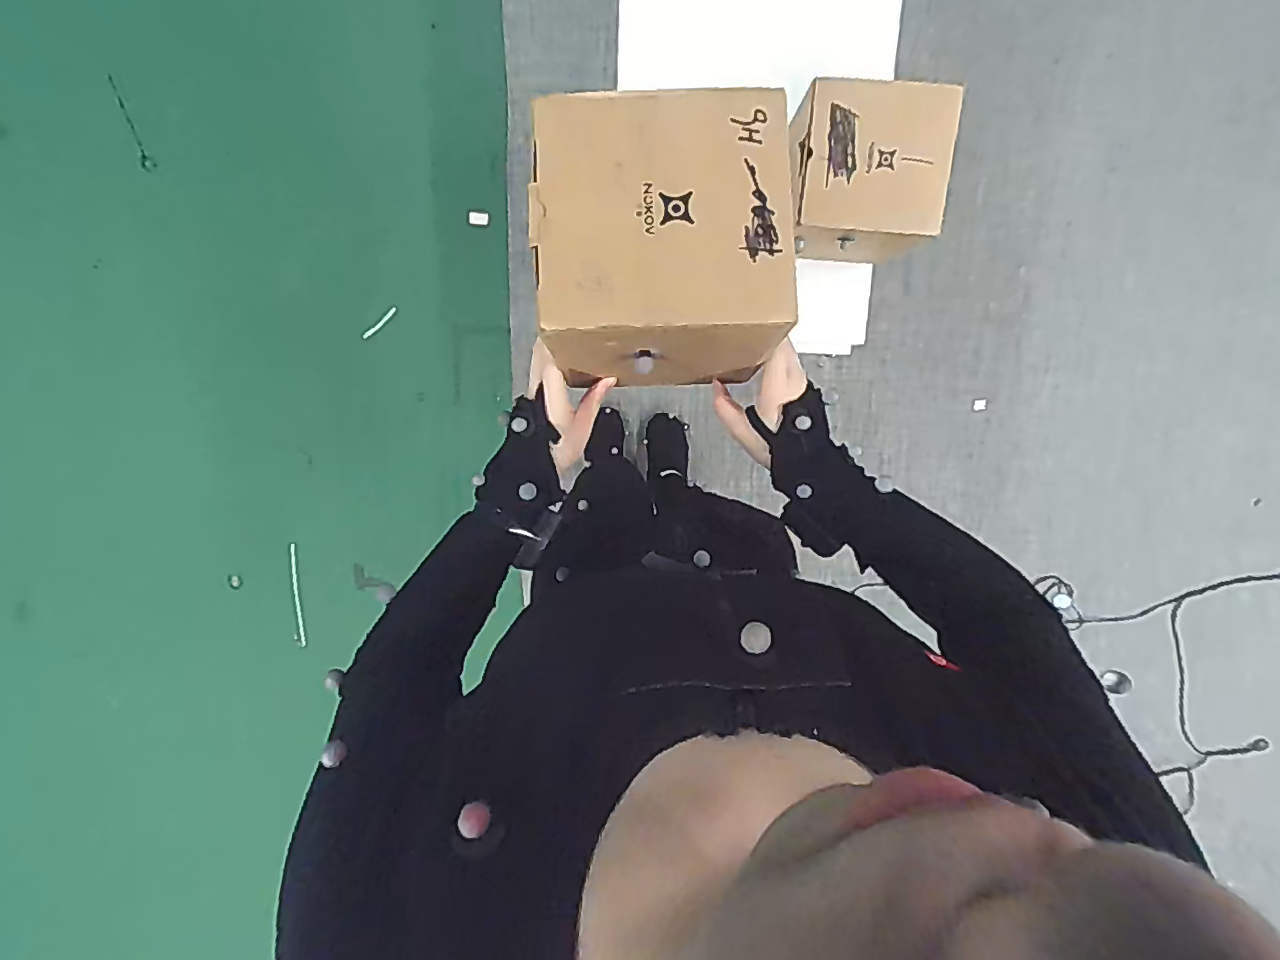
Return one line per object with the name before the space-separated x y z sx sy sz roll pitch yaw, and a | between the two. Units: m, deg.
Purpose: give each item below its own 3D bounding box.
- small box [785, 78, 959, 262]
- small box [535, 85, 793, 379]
small box | 0.283 -0.400 0.727 0.179 0.176 0.168 4 101 -1
small box | 0.017 -0.185 0.451 0.179 0.176 0.168 -2 87 0
